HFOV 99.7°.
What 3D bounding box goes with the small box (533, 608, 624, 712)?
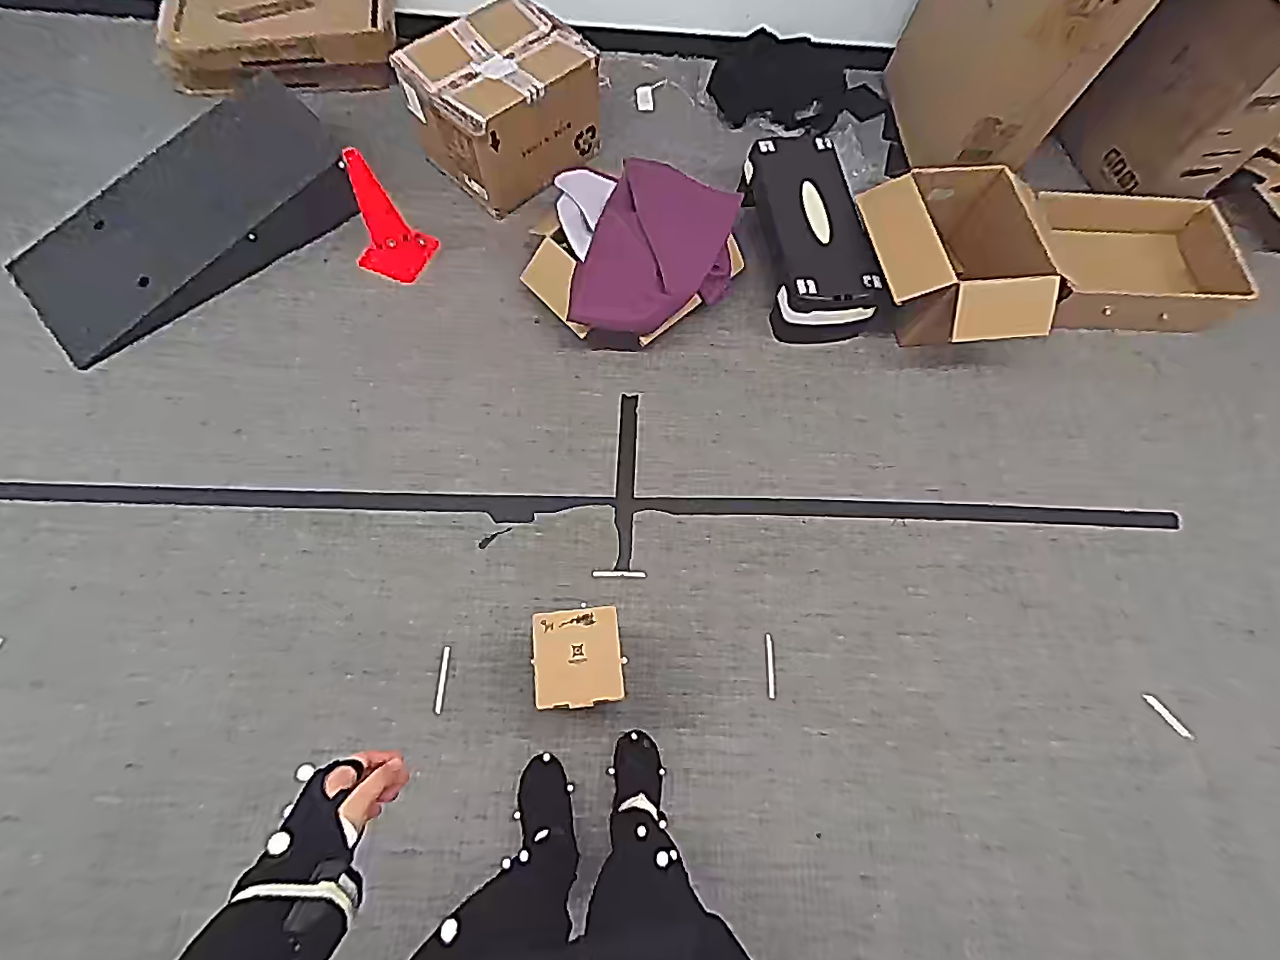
[{"bbox_3d":[-0.121,0.365,1.098,0.168,0.176,0.179,-5,70,-4],"label":"small box"}]
